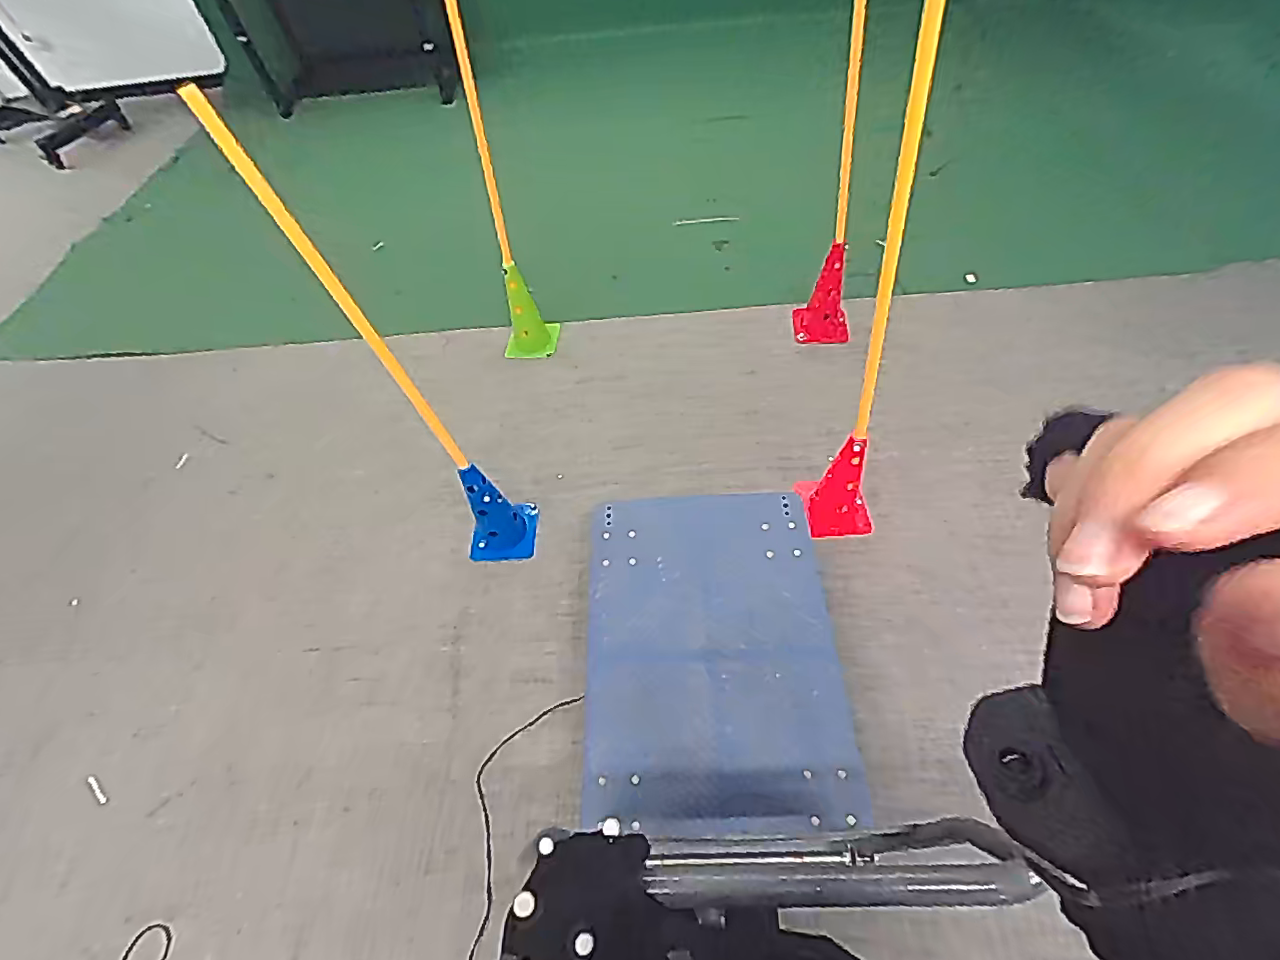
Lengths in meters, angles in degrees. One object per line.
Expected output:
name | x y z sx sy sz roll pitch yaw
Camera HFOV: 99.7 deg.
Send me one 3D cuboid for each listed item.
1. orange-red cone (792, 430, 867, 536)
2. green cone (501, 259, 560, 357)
orange-red cone | 0.559 -0.014 1.513 0.199 0.360 0.198 -4 55 5
green cone | -0.450 -0.669 2.055 0.202 0.368 0.200 0 55 7
